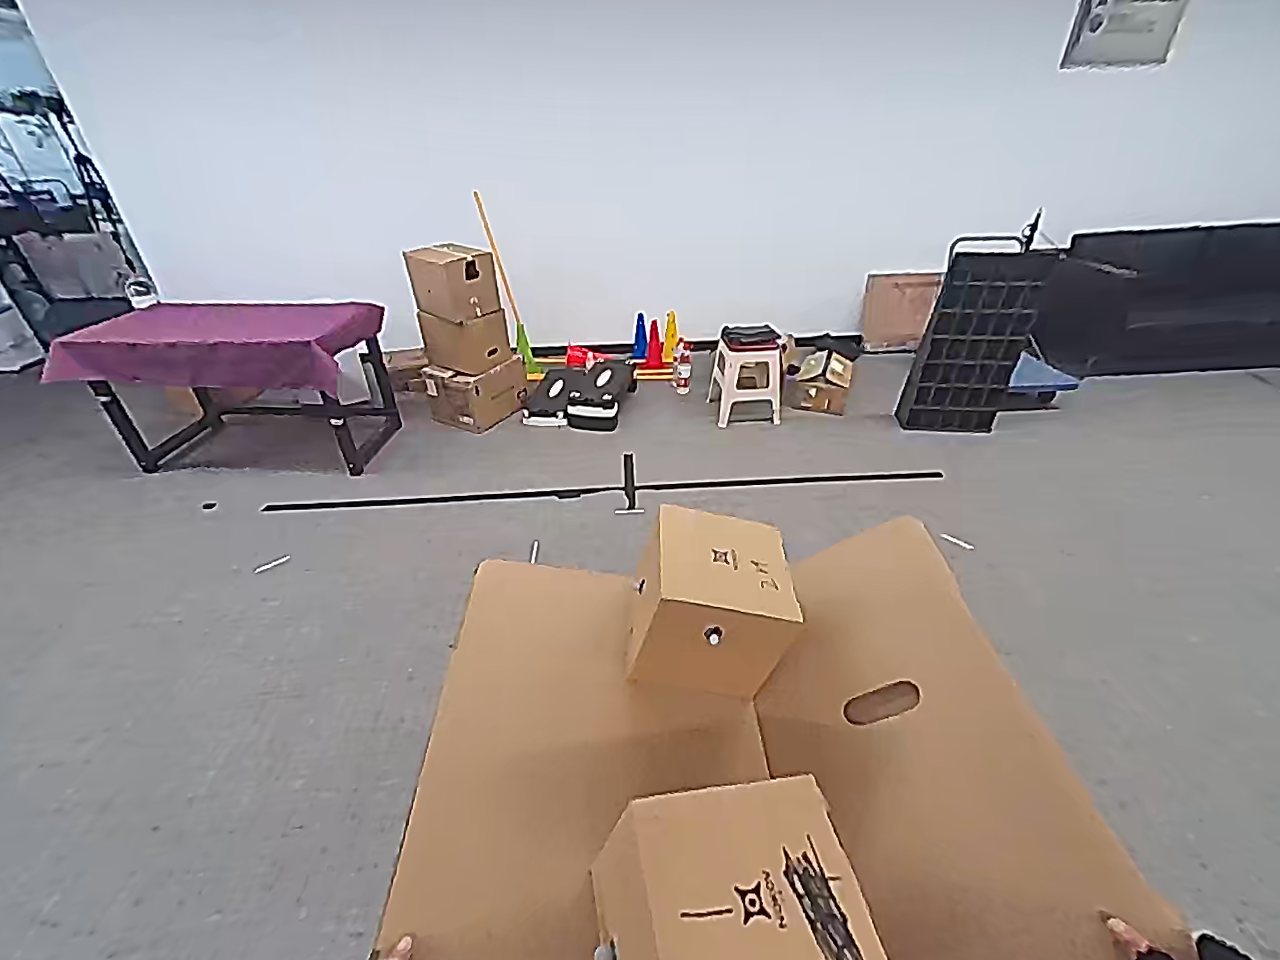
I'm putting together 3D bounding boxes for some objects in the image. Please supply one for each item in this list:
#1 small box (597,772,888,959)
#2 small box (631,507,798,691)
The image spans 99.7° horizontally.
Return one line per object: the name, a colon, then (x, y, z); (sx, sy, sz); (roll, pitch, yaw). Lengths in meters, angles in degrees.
small box: (0.073, 0.378, 0.463); (0.179, 0.176, 0.168); (3, 39, -18)
small box: (0.089, 0.165, 0.739); (0.179, 0.176, 0.168); (12, 38, -7)
